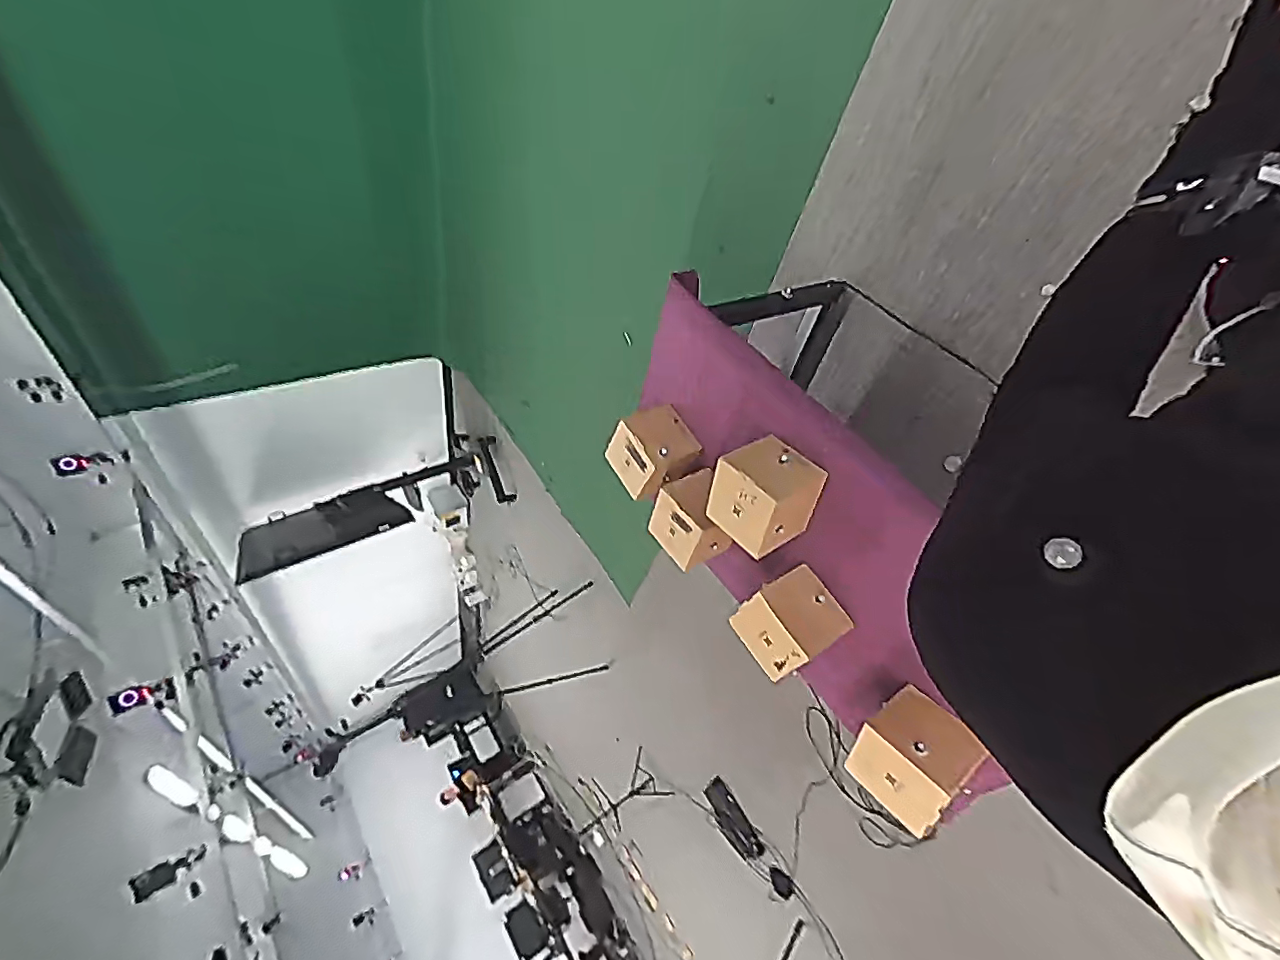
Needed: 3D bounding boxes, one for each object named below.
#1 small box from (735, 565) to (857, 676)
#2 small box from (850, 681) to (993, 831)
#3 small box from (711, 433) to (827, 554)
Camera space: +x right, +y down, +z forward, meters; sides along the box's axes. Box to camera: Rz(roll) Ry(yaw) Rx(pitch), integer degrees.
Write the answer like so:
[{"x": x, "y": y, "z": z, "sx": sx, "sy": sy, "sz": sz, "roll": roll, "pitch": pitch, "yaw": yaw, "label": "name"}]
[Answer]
[{"x": 0.361, "y": 0.320, "z": 1.263, "sx": 0.179, "sy": 0.176, "sz": 0.168, "roll": 55, "pitch": 146, "yaw": 21, "label": "small box"}, {"x": 0.566, "y": 0.547, "z": 1.092, "sx": 0.179, "sy": 0.176, "sz": 0.168, "roll": 38, "pitch": 137, "yaw": 40, "label": "small box"}, {"x": 0.284, "y": 0.025, "z": 1.195, "sx": 0.168, "sy": 0.176, "sz": 0.179, "roll": 42, "pitch": 142, "yaw": 34, "label": "small box"}]
